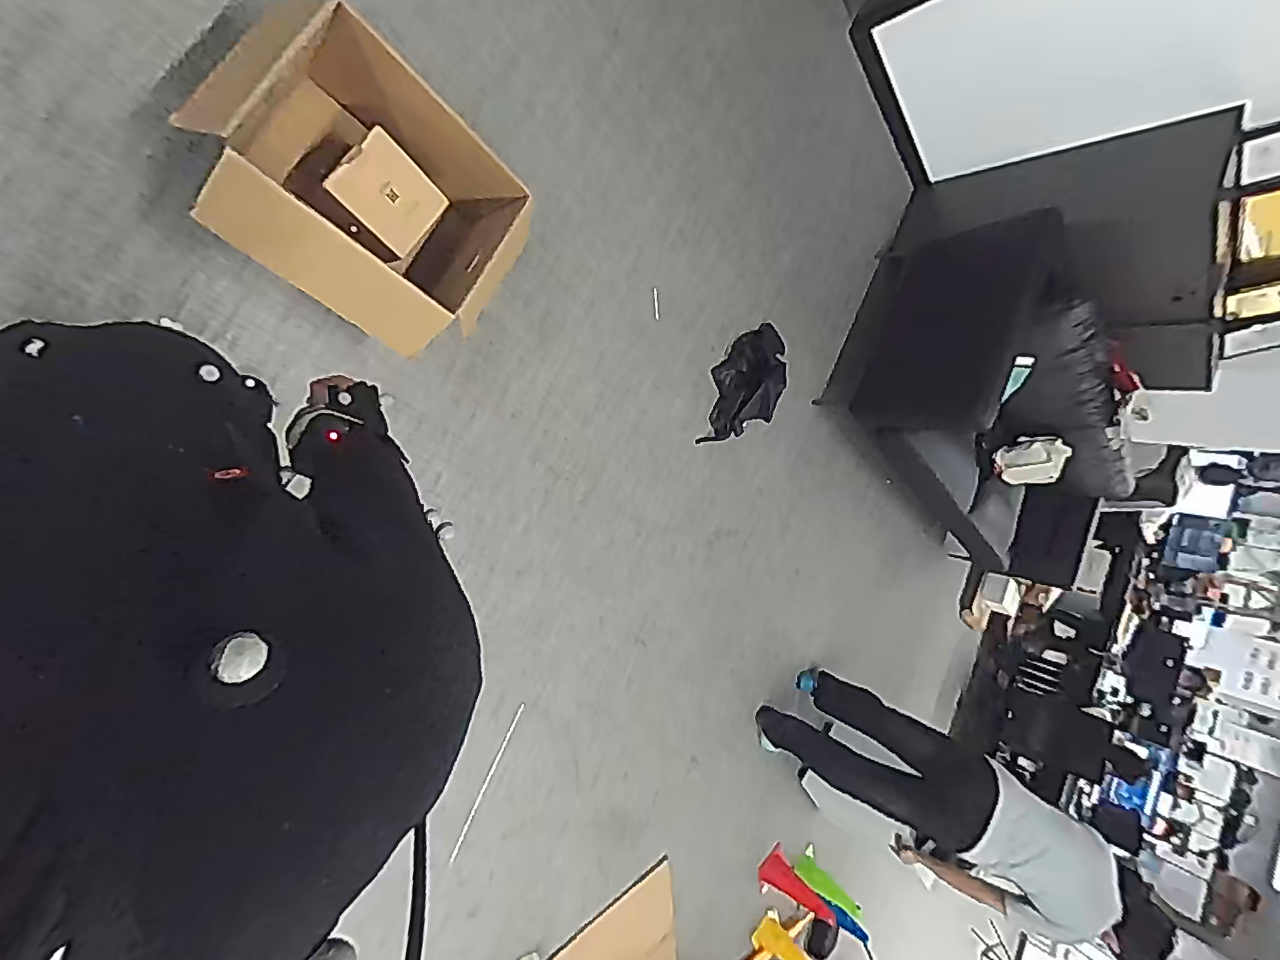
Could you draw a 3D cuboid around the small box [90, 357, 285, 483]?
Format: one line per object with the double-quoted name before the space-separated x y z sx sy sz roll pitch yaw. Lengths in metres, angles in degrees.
"small box" -0.799 -0.107 0.971 0.176 0.168 0.179 -22 106 -2
